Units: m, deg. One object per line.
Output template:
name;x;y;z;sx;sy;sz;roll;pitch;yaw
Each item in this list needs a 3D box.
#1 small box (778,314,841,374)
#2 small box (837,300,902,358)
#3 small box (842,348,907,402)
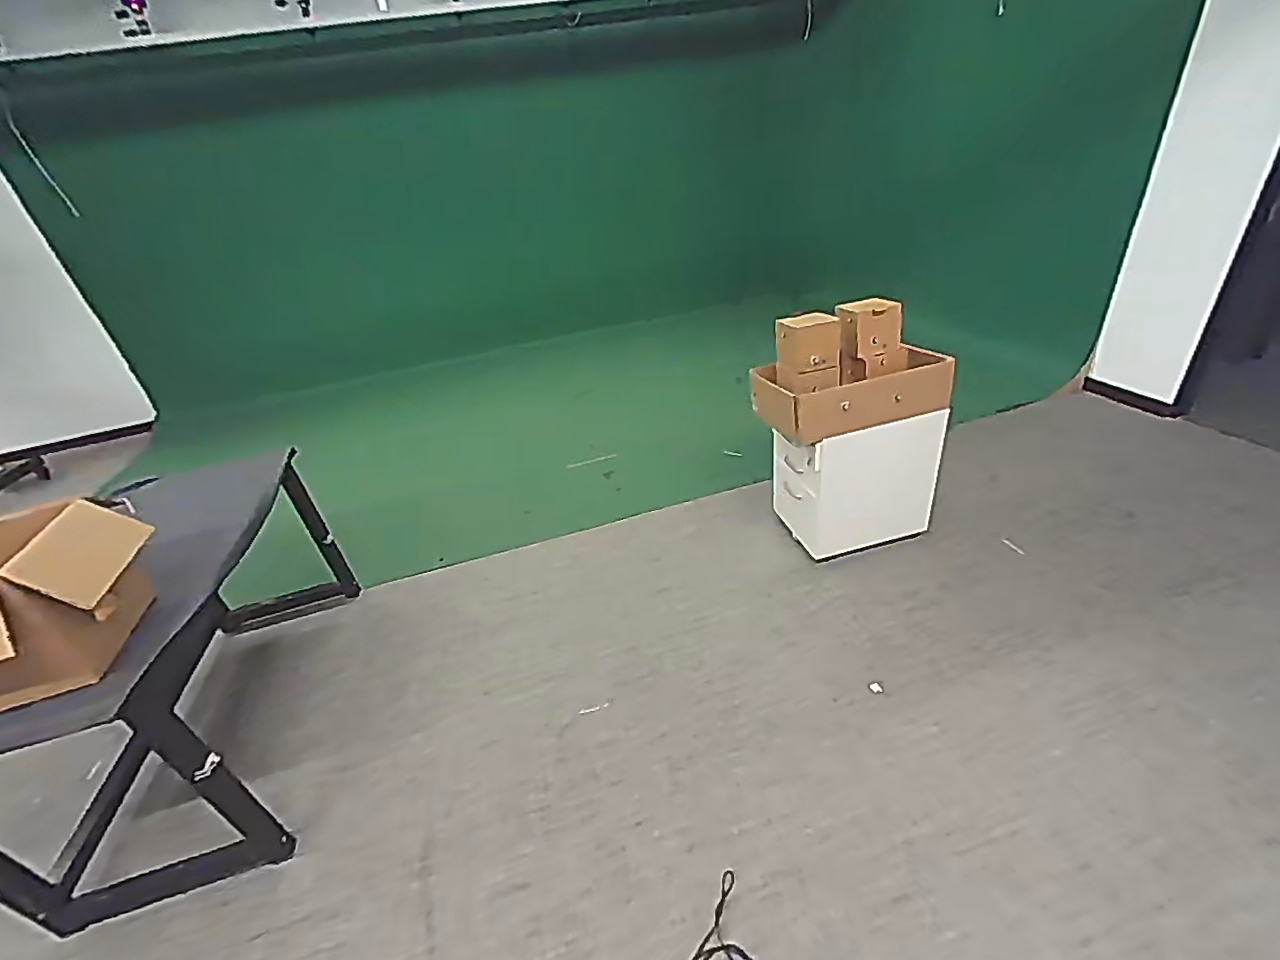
small box;0.608;-0.492;1.955;0.168;0.176;0.179;-13;27;-6
small box;0.847;-0.562;2.013;0.168;0.176;0.179;-12;27;-3
small box;0.889;-0.408;2.057;0.168;0.176;0.179;-16;26;-5
